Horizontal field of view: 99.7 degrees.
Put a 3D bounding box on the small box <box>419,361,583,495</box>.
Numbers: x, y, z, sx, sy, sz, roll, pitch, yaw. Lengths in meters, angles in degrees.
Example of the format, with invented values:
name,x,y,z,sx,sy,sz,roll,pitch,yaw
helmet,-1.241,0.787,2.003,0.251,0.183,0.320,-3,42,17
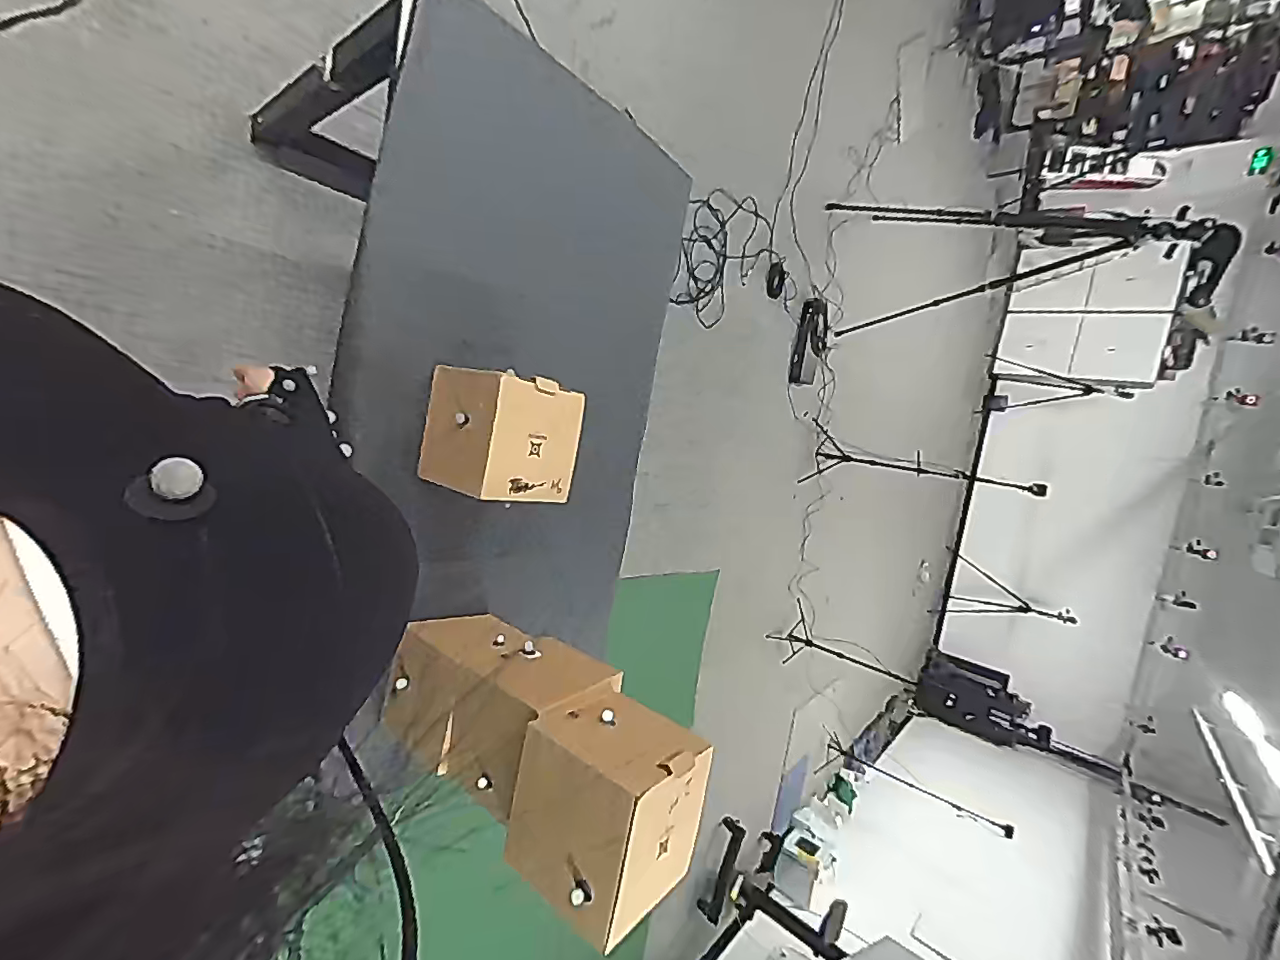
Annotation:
name,x,y,z,sx,sy,sz,roll,pitch,yaw
small box,-0.214,-0.079,0.827,0.168,0.176,0.179,6,95,-52

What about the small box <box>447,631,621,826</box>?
name,x,y,z,sx,sy,sz,roll,pitch,yaw
small box,-0.151,0.337,0.764,0.168,0.176,0.179,-2,101,-54

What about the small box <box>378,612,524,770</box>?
name,x,y,z,sx,sy,sz,roll,pitch,yaw
small box,-0.280,0.318,0.861,0.179,0.176,0.168,11,91,-53

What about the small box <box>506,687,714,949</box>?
name,x,y,z,sx,sy,sz,roll,pitch,yaw
small box,-0.038,0.380,0.649,0.168,0.176,0.179,7,95,-55
